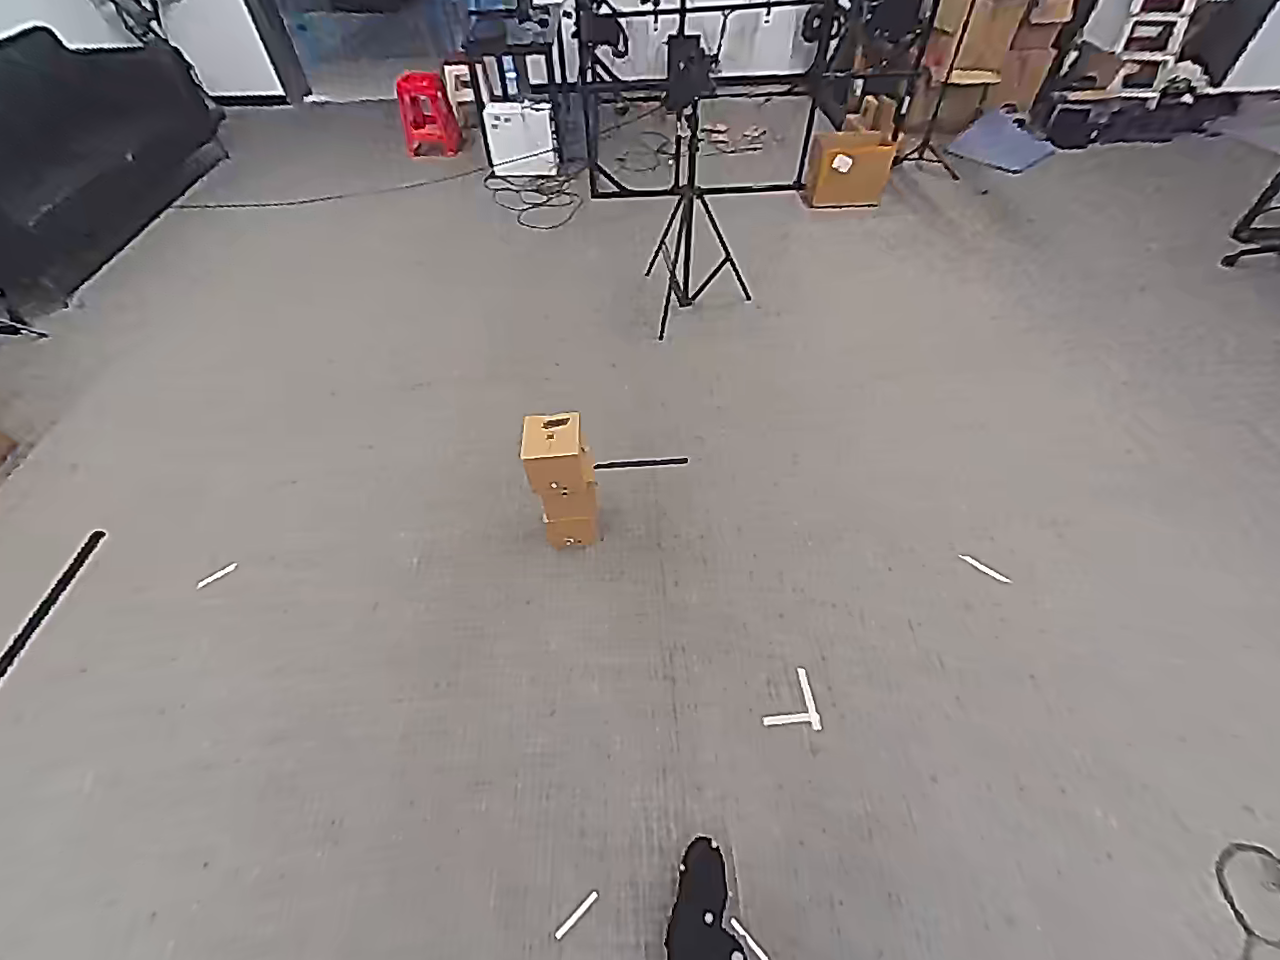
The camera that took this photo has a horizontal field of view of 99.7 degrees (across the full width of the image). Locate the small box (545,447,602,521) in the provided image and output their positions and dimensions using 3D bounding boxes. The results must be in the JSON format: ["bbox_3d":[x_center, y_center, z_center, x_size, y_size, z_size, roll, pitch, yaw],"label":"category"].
[{"bbox_3d":[-0.223,0.018,1.767,0.179,0.176,0.168,-7,50,-3],"label":"small box"}]

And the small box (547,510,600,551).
[{"bbox_3d":[-0.230,0.127,1.890,0.168,0.176,0.179,-6,50,-2],"label":"small box"}]

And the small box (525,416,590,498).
[{"bbox_3d":[-0.243,-0.068,1.625,0.168,0.176,0.179,-5,51,0],"label":"small box"}]
